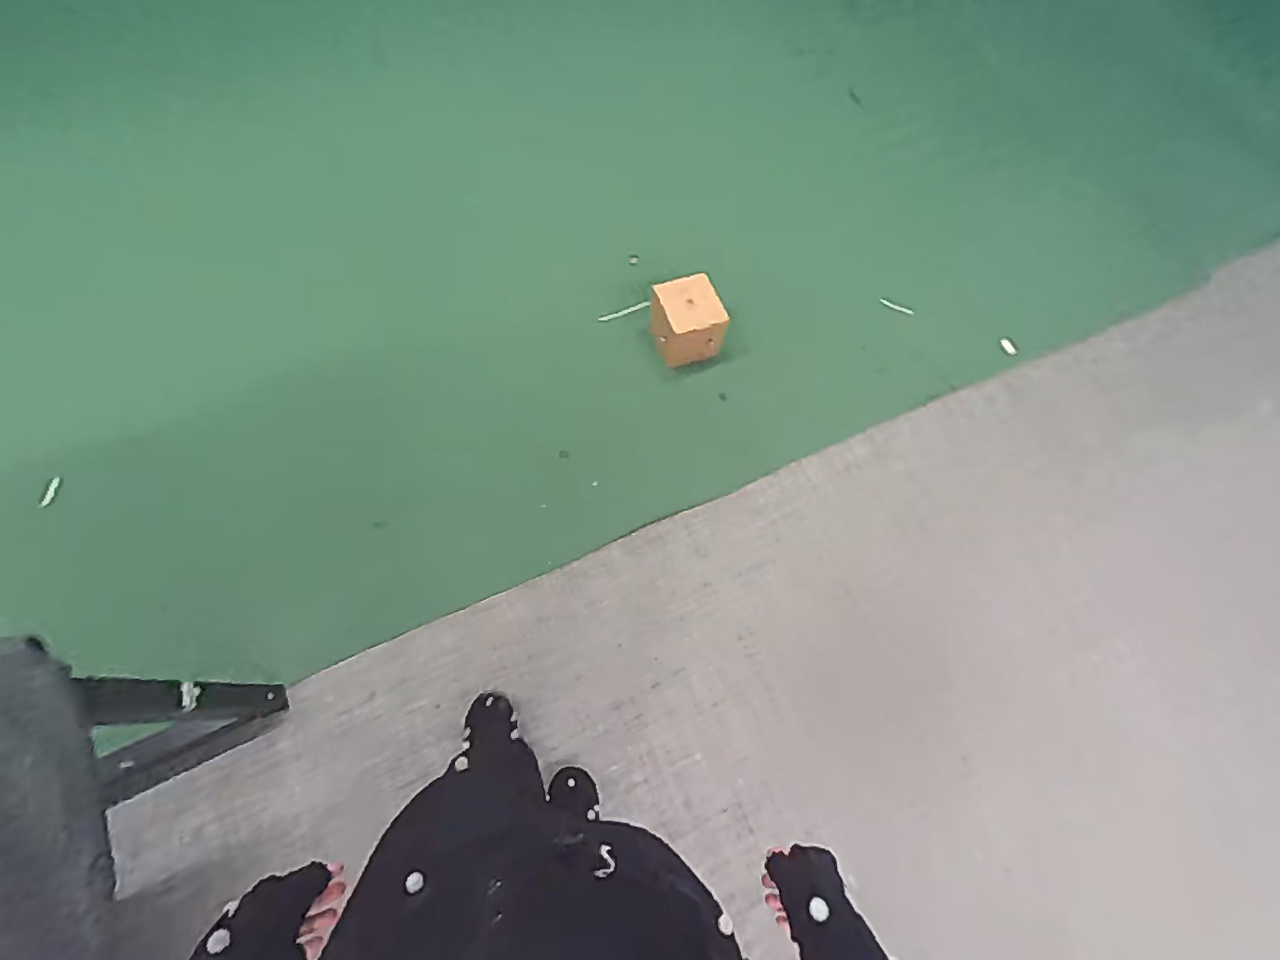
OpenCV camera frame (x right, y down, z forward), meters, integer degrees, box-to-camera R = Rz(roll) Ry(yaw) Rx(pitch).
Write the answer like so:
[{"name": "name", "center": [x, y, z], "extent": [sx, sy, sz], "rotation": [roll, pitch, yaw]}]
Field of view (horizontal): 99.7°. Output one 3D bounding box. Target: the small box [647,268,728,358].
[{"name": "small box", "center": [0.131, -0.473, 1.559], "extent": [0.168, 0.176, 0.179], "rotation": [-16, 70, -14]}]
